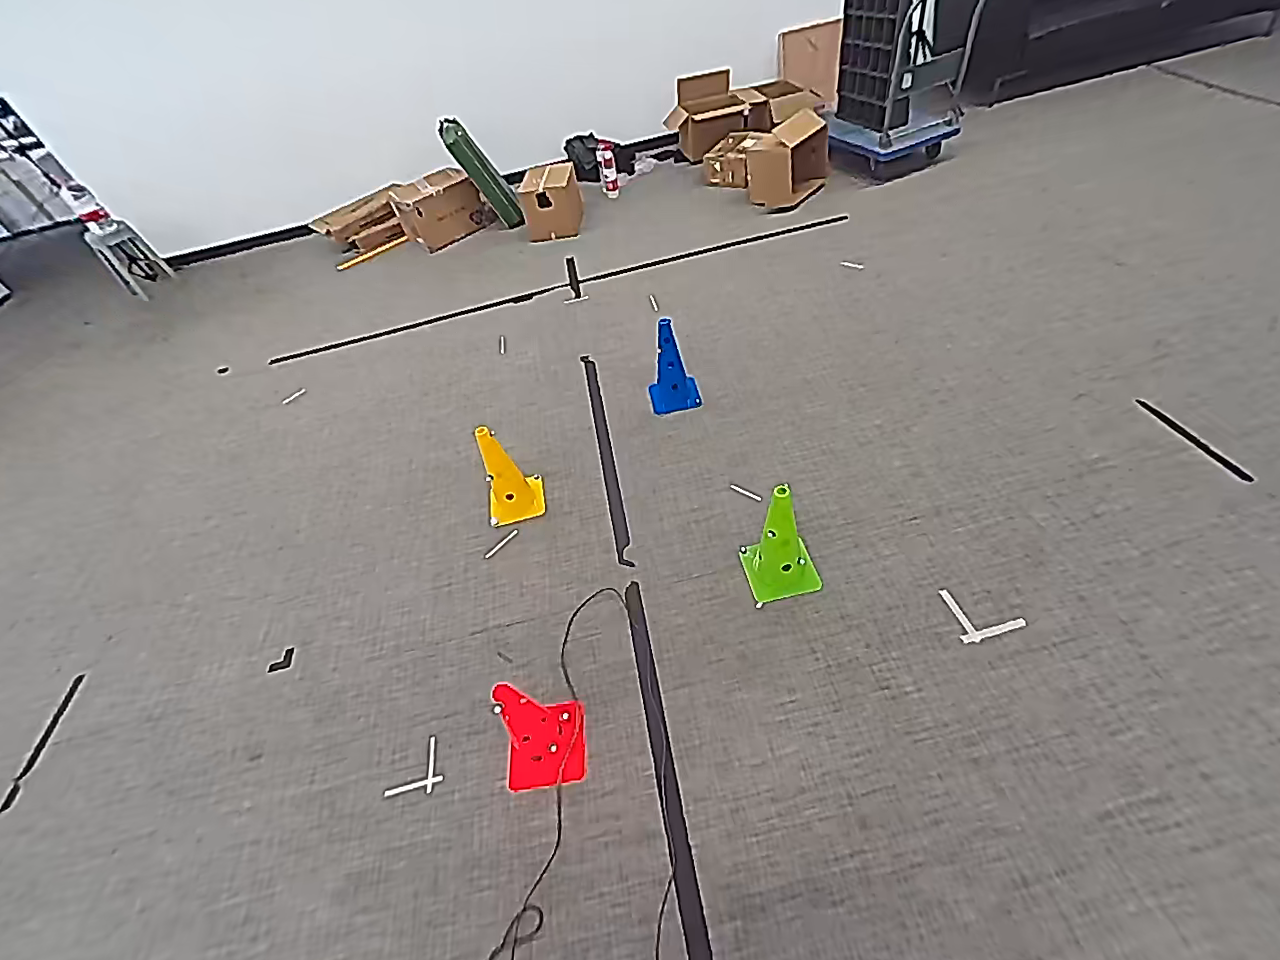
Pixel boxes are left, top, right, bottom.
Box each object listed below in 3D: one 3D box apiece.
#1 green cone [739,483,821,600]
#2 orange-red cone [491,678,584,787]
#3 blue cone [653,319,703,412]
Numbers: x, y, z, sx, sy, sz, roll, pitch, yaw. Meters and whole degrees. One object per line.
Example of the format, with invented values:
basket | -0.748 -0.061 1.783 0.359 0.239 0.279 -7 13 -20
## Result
green cone | 0.392 0.147 1.501 0.202 0.368 0.200 -13 47 -1
orange-red cone | -0.272 0.559 1.272 0.199 0.360 0.198 -11 45 4
blue cone | 0.132 -0.462 2.140 0.192 0.380 0.193 -10 47 2
